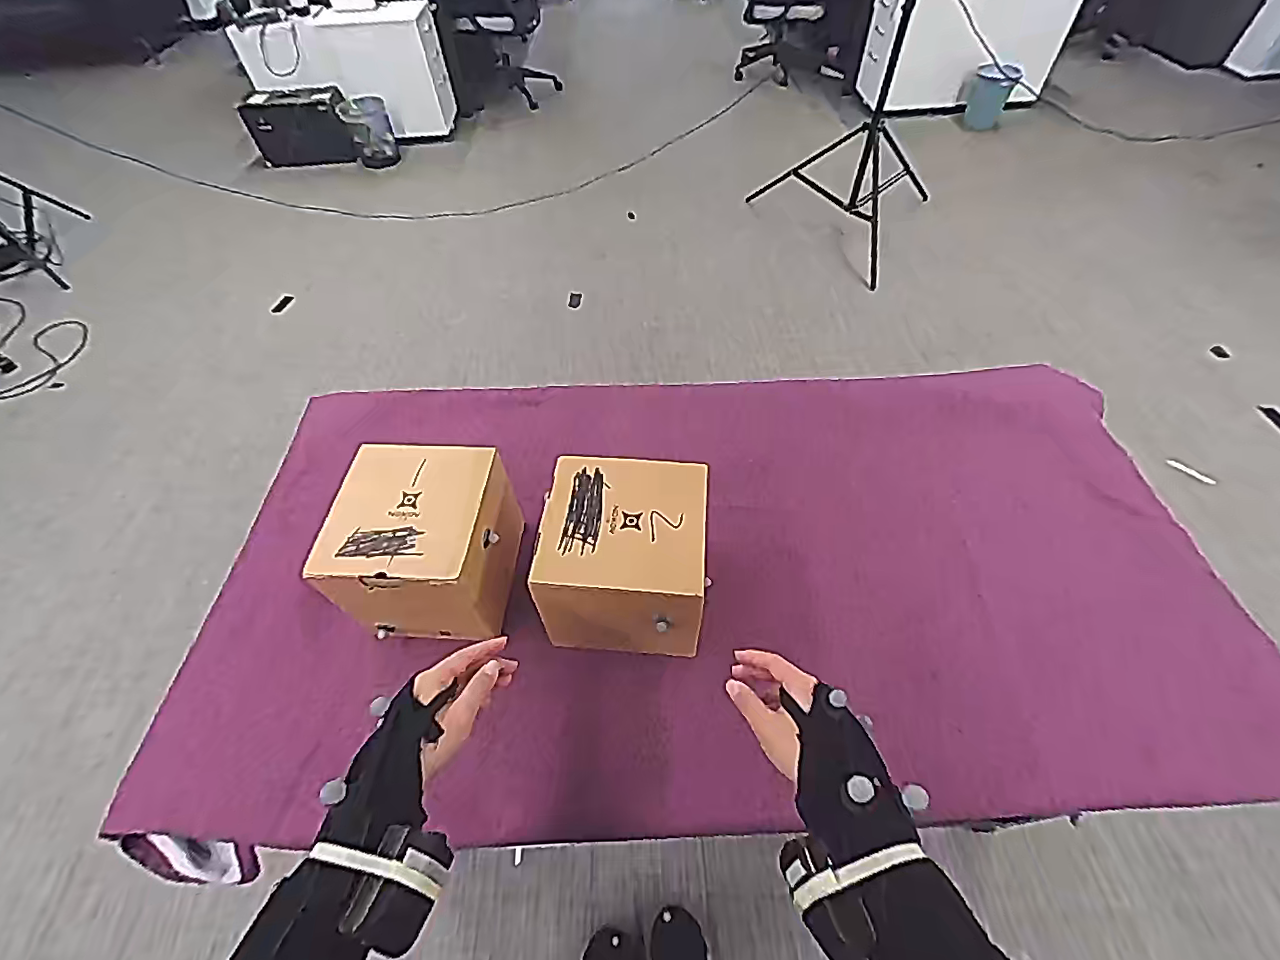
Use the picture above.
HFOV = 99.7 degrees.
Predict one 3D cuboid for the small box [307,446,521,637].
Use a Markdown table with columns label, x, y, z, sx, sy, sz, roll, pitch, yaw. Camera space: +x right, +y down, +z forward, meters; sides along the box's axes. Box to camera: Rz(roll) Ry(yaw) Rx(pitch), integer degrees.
| label | x | y | z | sx | sy | sz | roll | pitch | yaw |
| --- | --- | --- | --- | --- | --- | --- | --- | --- | --- |
| small box | -0.252 | 0.079 | 0.658 | 0.168 | 0.176 | 0.179 | 2 | 53 | 3 |
